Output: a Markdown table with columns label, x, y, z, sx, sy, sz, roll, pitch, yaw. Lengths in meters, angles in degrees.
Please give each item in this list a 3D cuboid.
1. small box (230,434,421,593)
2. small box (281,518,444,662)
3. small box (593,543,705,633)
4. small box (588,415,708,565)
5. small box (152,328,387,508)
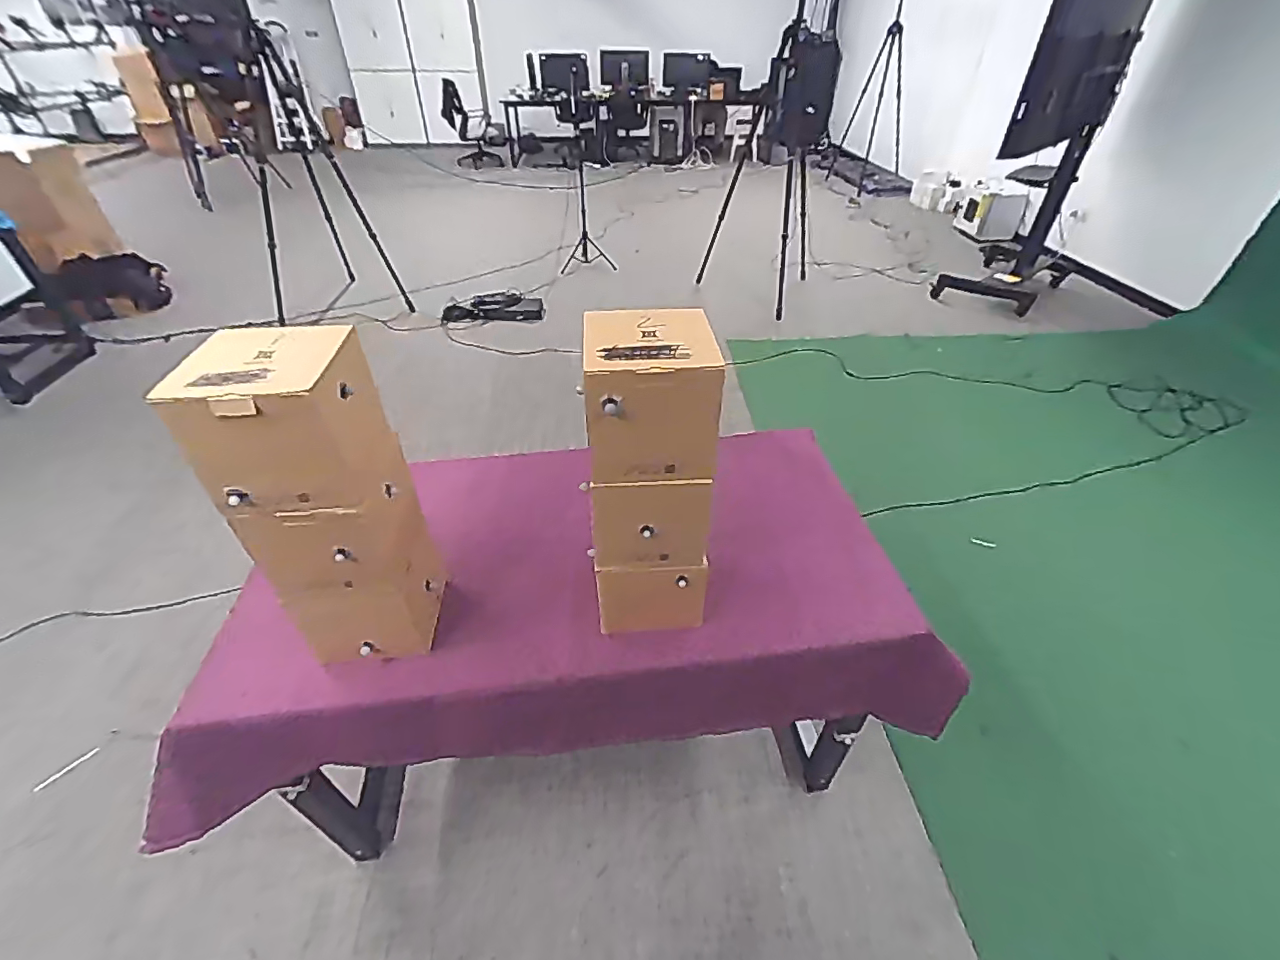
| label | x | y | z | sx | sy | sz | roll | pitch | yaw |
| --- | --- | --- | --- | --- | --- | --- | --- | --- | --- |
| small box | -0.438 | 0.053 | 0.793 | 0.168 | 0.176 | 0.179 | -2 | 39 | -3 |
| small box | -0.439 | 0.181 | 0.893 | 0.179 | 0.176 | 0.168 | -3 | 40 | -4 |
| small box | 0.011 | 0.148 | 0.934 | 0.179 | 0.176 | 0.168 | -3 | 40 | -4 |
| small box | 0.010 | 0.018 | 0.833 | 0.168 | 0.176 | 0.179 | -1 | 40 | -2 |
| small box | -0.445 | -0.076 | 0.691 | 0.168 | 0.176 | 0.179 | -4 | 39 | -6 |
